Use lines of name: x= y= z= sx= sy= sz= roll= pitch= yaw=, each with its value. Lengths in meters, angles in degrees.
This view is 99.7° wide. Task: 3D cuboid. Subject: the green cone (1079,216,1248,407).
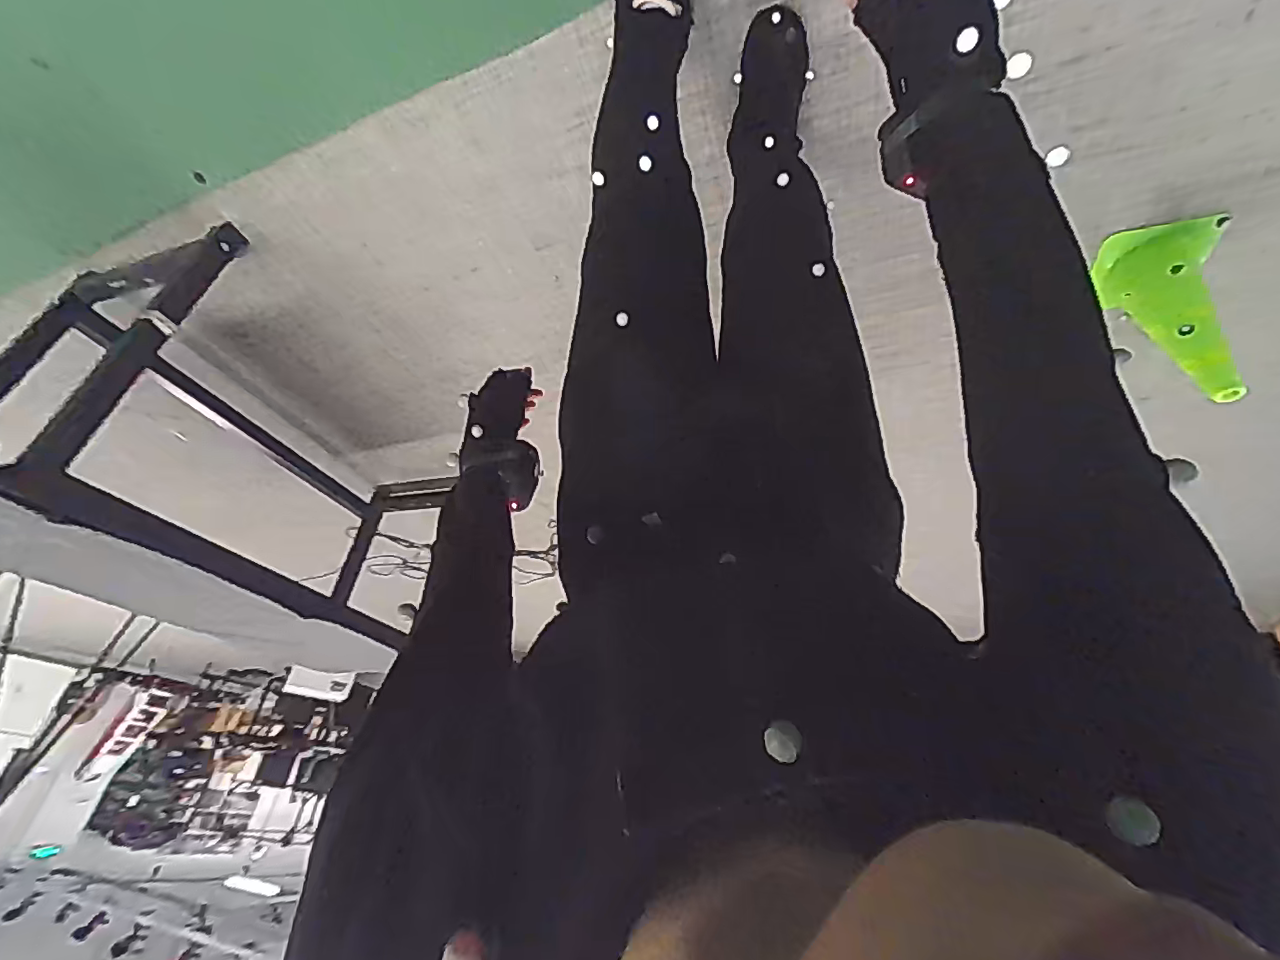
green cone: x=1.034 y=-0.292 z=1.025 sx=0.200 sy=0.368 sz=0.202 roll=-6 pitch=146 yaw=19
